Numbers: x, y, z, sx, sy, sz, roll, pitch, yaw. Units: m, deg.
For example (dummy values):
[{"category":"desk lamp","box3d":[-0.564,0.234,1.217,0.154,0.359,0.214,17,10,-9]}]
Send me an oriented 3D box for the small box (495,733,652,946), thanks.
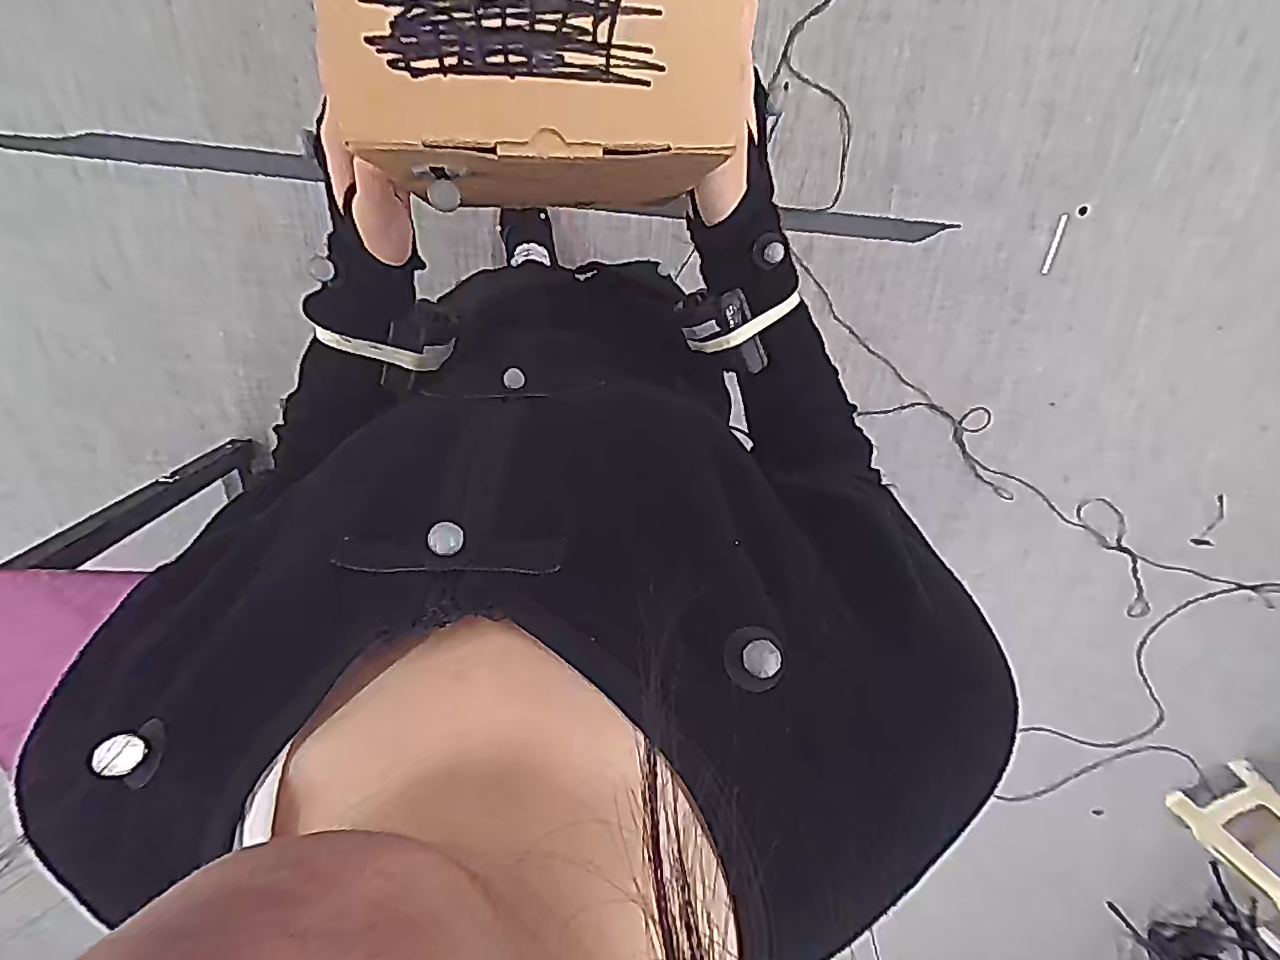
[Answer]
[{"category":"small box","box3d":[-0.080,0.454,0.701,0.179,0.176,0.168,-2,116,-5]}]
